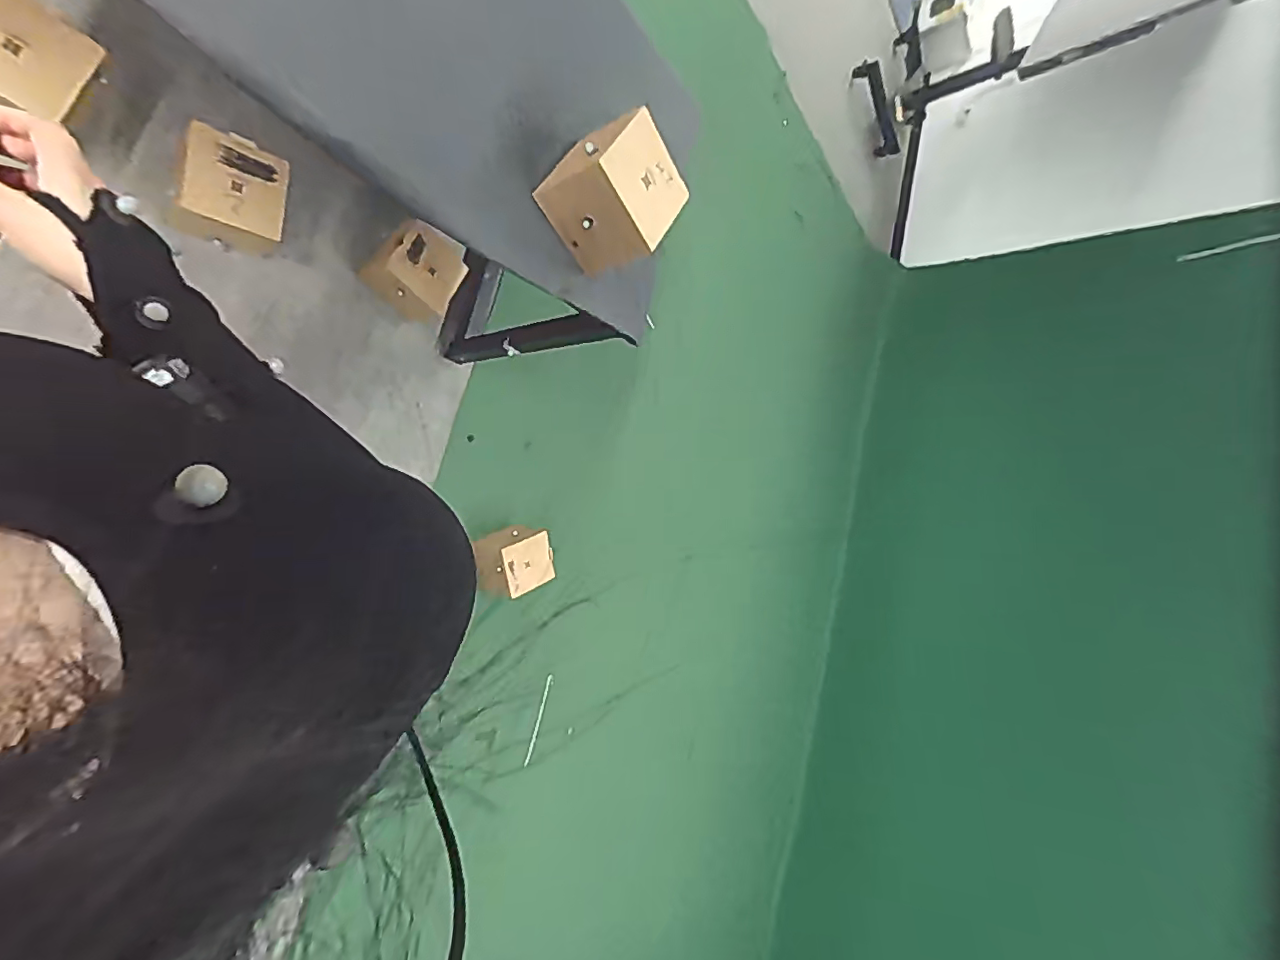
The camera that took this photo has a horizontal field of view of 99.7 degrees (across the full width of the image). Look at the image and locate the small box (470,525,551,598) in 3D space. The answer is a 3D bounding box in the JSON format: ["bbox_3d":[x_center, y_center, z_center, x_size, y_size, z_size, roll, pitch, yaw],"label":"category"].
[{"bbox_3d":[-0.413,0.251,1.727,0.179,0.176,0.168,-23,110,-45],"label":"small box"}]

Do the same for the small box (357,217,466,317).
[{"bbox_3d":[-0.607,-0.551,1.428,0.179,0.176,0.168,42,64,-44],"label":"small box"}]

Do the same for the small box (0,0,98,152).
[{"bbox_3d":[-1.064,-0.701,0.910,0.168,0.176,0.179,29,72,-45],"label":"small box"}]

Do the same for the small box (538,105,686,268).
[{"bbox_3d":[-0.053,-0.503,0.952,0.168,0.176,0.179,50,56,-38],"label":"small box"}]
